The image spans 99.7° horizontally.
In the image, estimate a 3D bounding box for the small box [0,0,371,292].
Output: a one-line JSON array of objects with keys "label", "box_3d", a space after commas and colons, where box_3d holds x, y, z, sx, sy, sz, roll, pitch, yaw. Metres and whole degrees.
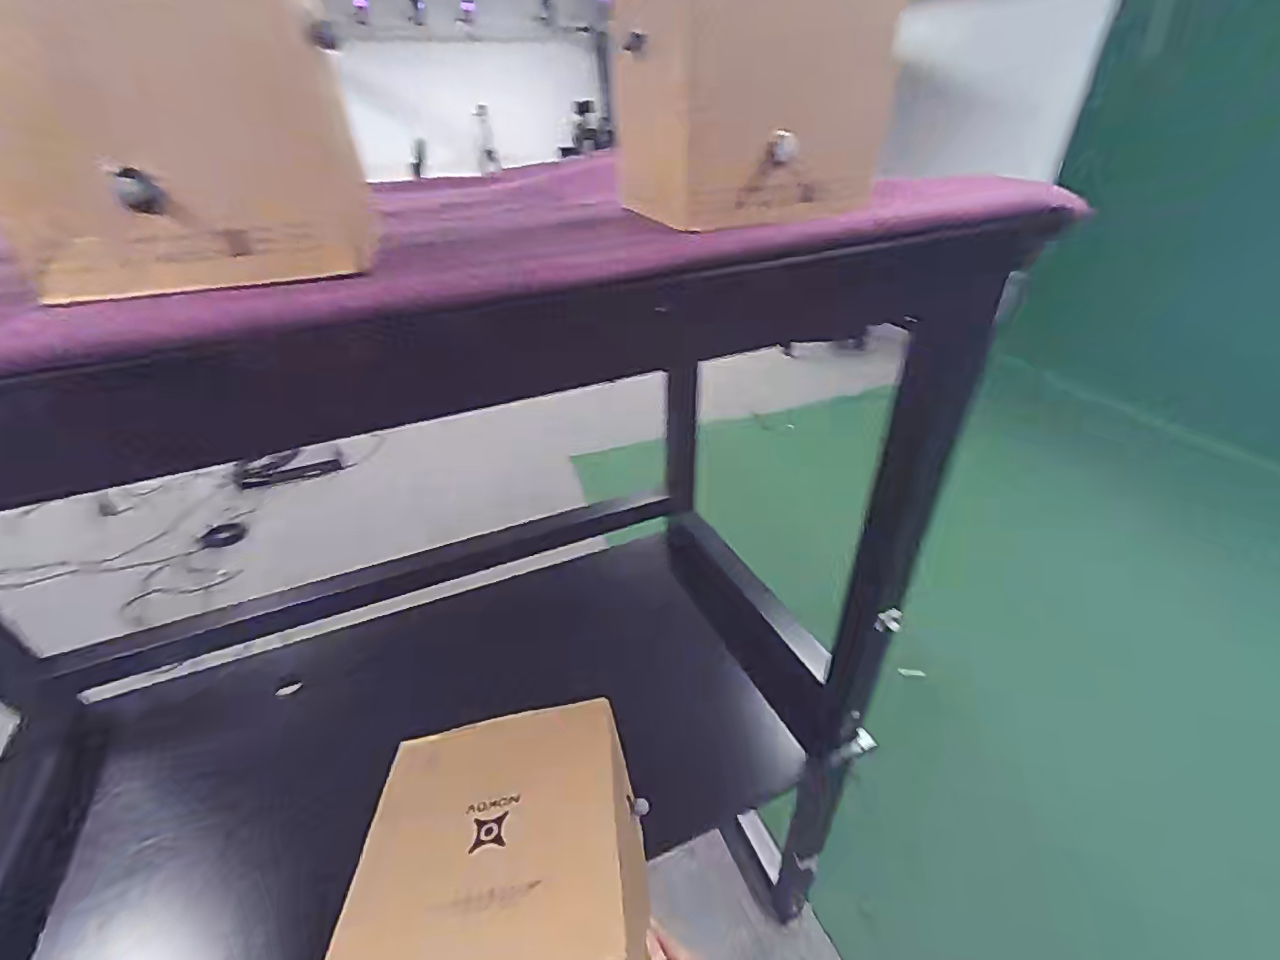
[{"label": "small box", "box_3d": [-0.284, -0.226, 0.340, 0.168, 0.176, 0.179, -13, 35, -14]}]

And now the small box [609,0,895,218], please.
[{"label": "small box", "box_3d": [0.075, -0.322, 0.447, 0.168, 0.176, 0.179, -13, 37, -13]}]
